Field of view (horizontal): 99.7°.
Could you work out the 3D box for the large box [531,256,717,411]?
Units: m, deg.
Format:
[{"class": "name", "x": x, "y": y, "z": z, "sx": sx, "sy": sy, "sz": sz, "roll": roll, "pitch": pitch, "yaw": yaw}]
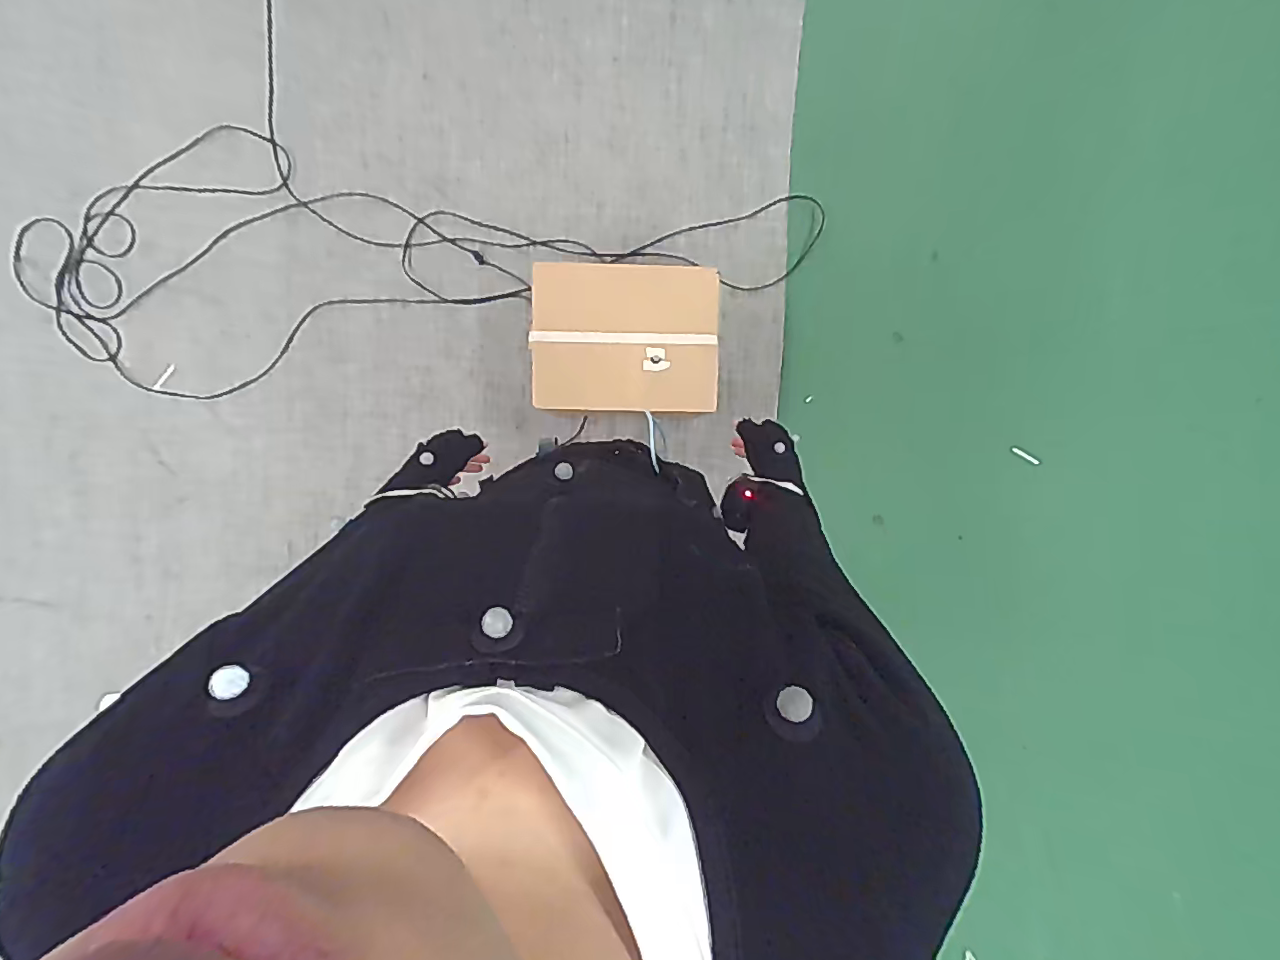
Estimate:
[{"class": "large box", "x": -0.042, "y": -0.331, "z": 1.312, "sx": 0.408, "sy": 0.320, "sz": 0.320, "roll": 1, "pitch": 95, "yaw": -3}]
